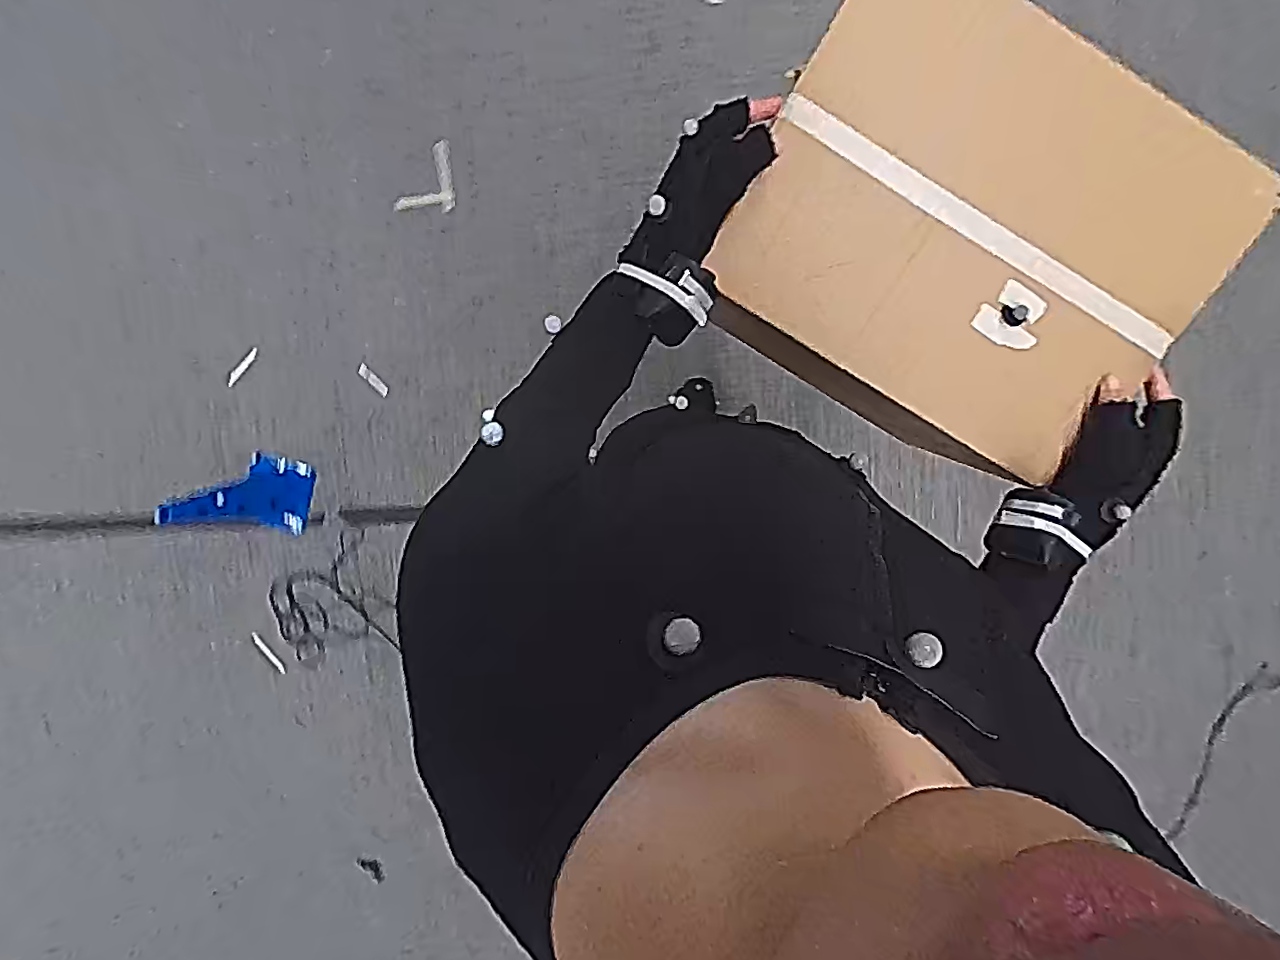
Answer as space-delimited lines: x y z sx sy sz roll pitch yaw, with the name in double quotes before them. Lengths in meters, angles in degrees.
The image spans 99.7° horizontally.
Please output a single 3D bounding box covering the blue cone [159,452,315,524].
"blue cone" -1.079 0.041 1.445 0.192 0.380 0.193 19 97 4
